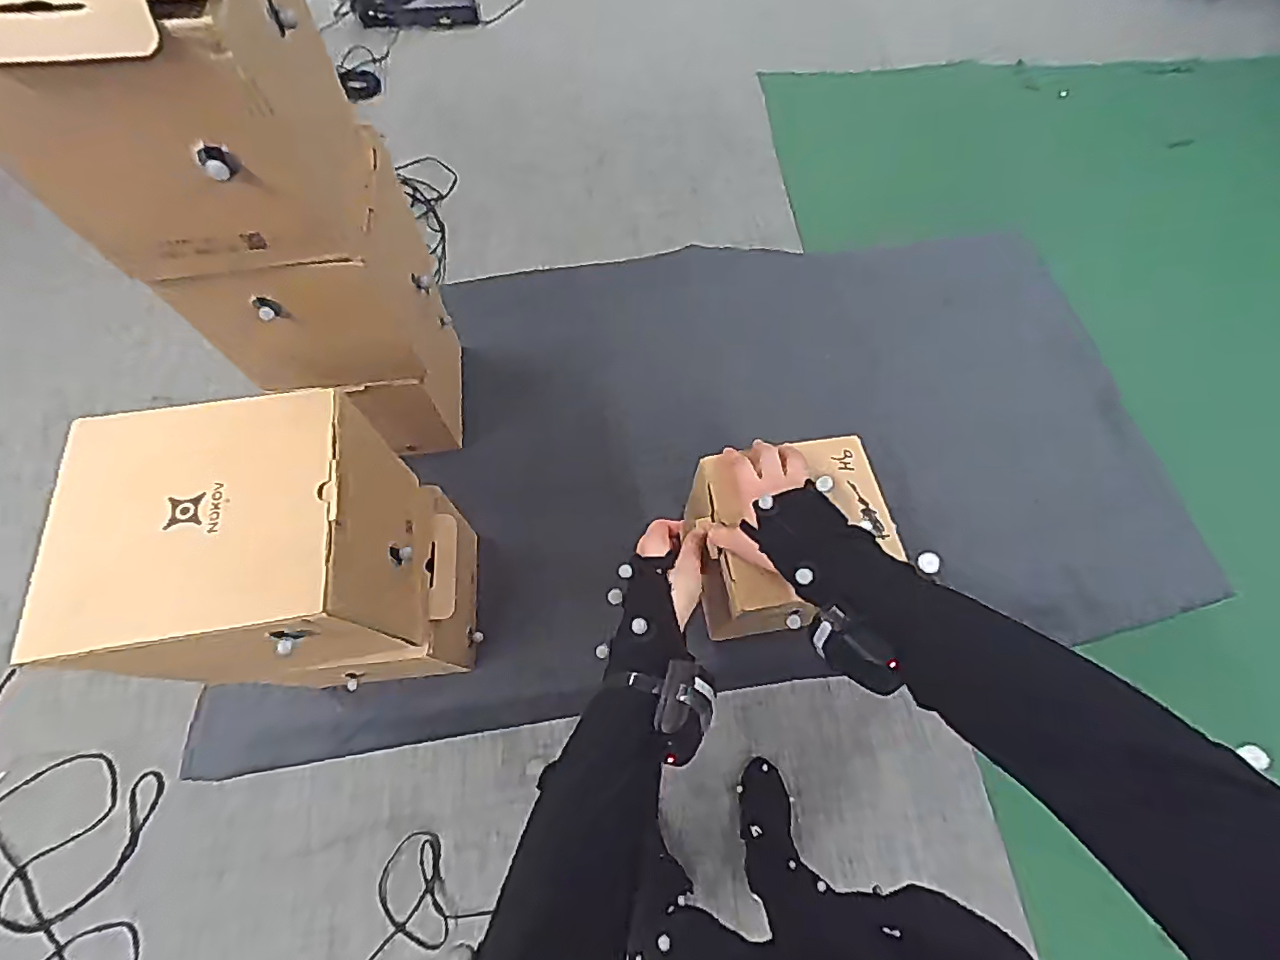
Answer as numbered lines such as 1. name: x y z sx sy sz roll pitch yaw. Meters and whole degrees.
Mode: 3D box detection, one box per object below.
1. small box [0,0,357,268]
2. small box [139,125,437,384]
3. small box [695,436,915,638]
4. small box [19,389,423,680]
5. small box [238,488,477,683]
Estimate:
1. small box: -0.317 -0.270 0.379 0.168 0.176 0.179 -9 67 -7
2. small box: -0.315 -0.208 0.529 0.179 0.176 0.168 -6 68 -5
3. small box: 0.161 0.072 0.605 0.179 0.176 0.168 -8 66 -5
4. small box: -0.287 0.053 0.421 0.179 0.176 0.168 -9 68 -6
5. small box: -0.276 0.118 0.571 0.179 0.176 0.168 -5 67 -4
